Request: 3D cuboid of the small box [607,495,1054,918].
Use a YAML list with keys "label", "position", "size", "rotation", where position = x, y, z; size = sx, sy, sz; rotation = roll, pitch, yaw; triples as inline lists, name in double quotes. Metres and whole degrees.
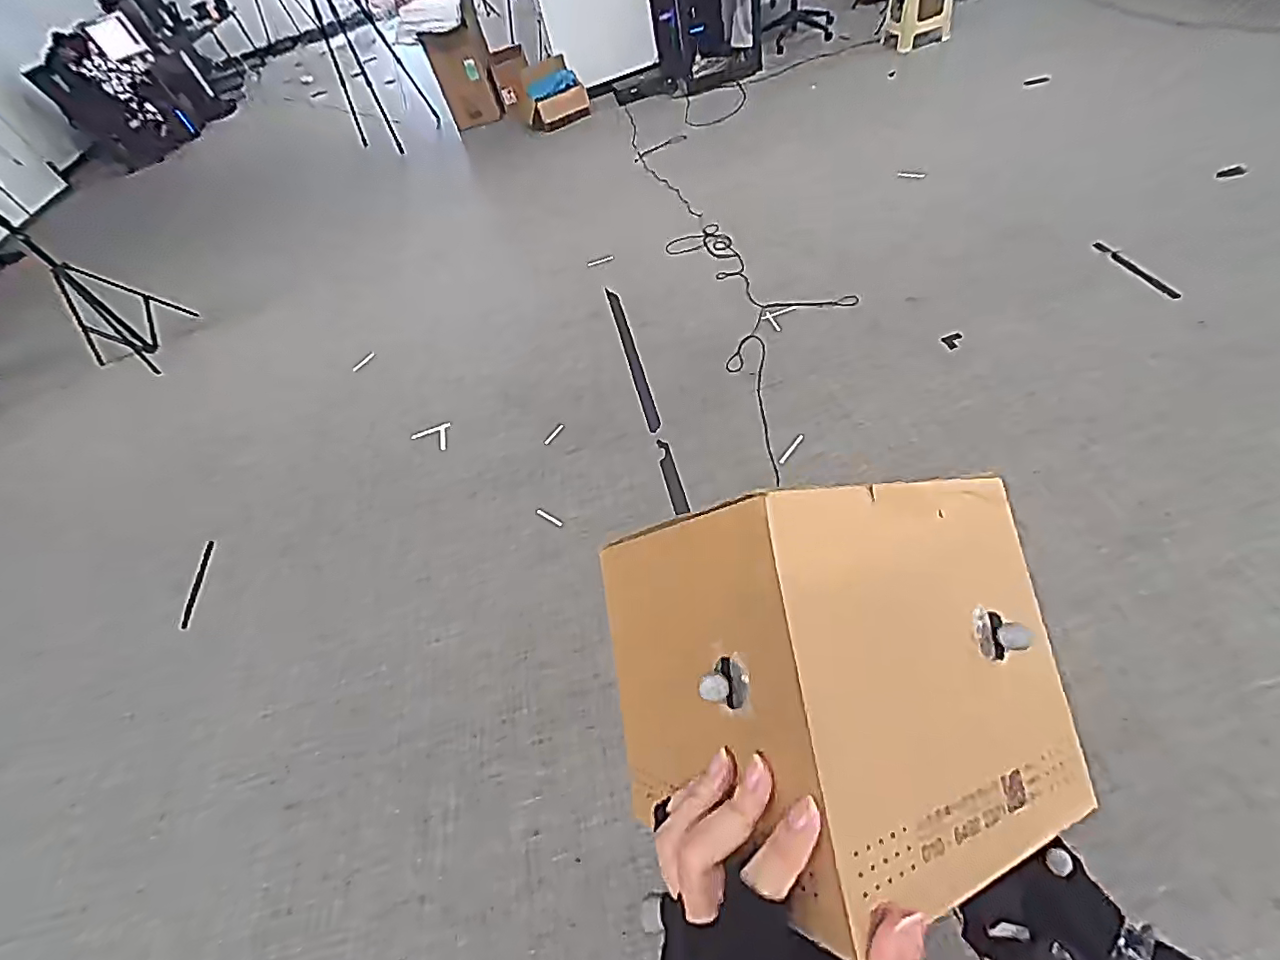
- label: "small box"
  position: [0.097, 0.114, 0.323]
  size: [0.168, 0.179, 0.176]
  rotation: [-3, 77, -27]
